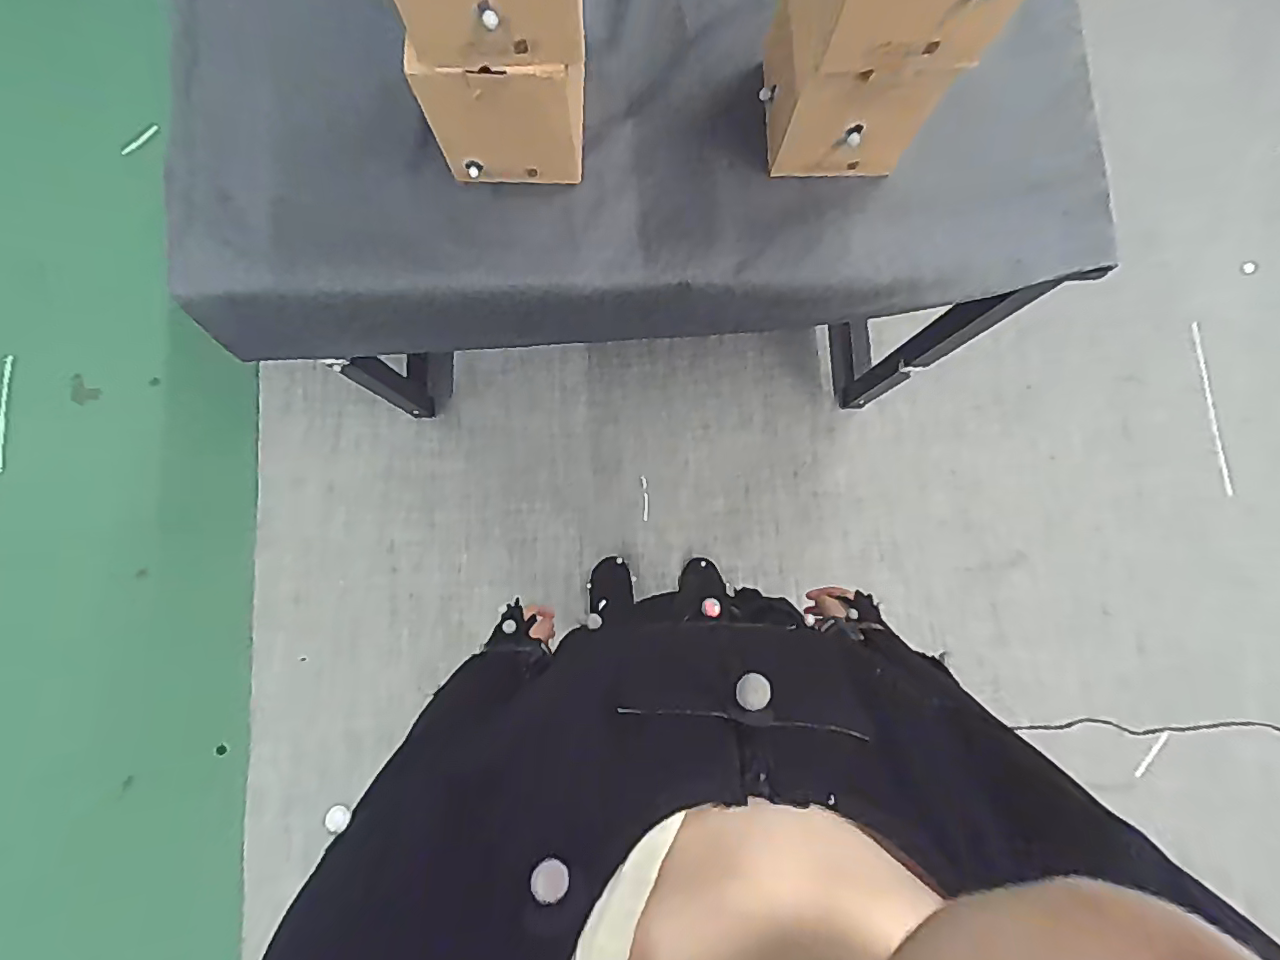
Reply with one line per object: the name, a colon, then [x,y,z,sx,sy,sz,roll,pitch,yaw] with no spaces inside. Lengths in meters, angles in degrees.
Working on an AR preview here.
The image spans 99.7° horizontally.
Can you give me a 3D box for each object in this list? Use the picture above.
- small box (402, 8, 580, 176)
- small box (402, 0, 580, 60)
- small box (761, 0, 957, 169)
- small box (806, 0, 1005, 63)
small box: [-0.161,-0.490,0.638,0.168,0.176,0.179,1,82,-1]
small box: [-0.142,-0.520,0.476,0.168,0.176,0.179,-2,82,-1]
small box: [0.246,-0.501,0.646,0.168,0.176,0.179,-1,83,-1]
small box: [0.255,-0.516,0.484,0.168,0.176,0.179,-2,82,-2]
